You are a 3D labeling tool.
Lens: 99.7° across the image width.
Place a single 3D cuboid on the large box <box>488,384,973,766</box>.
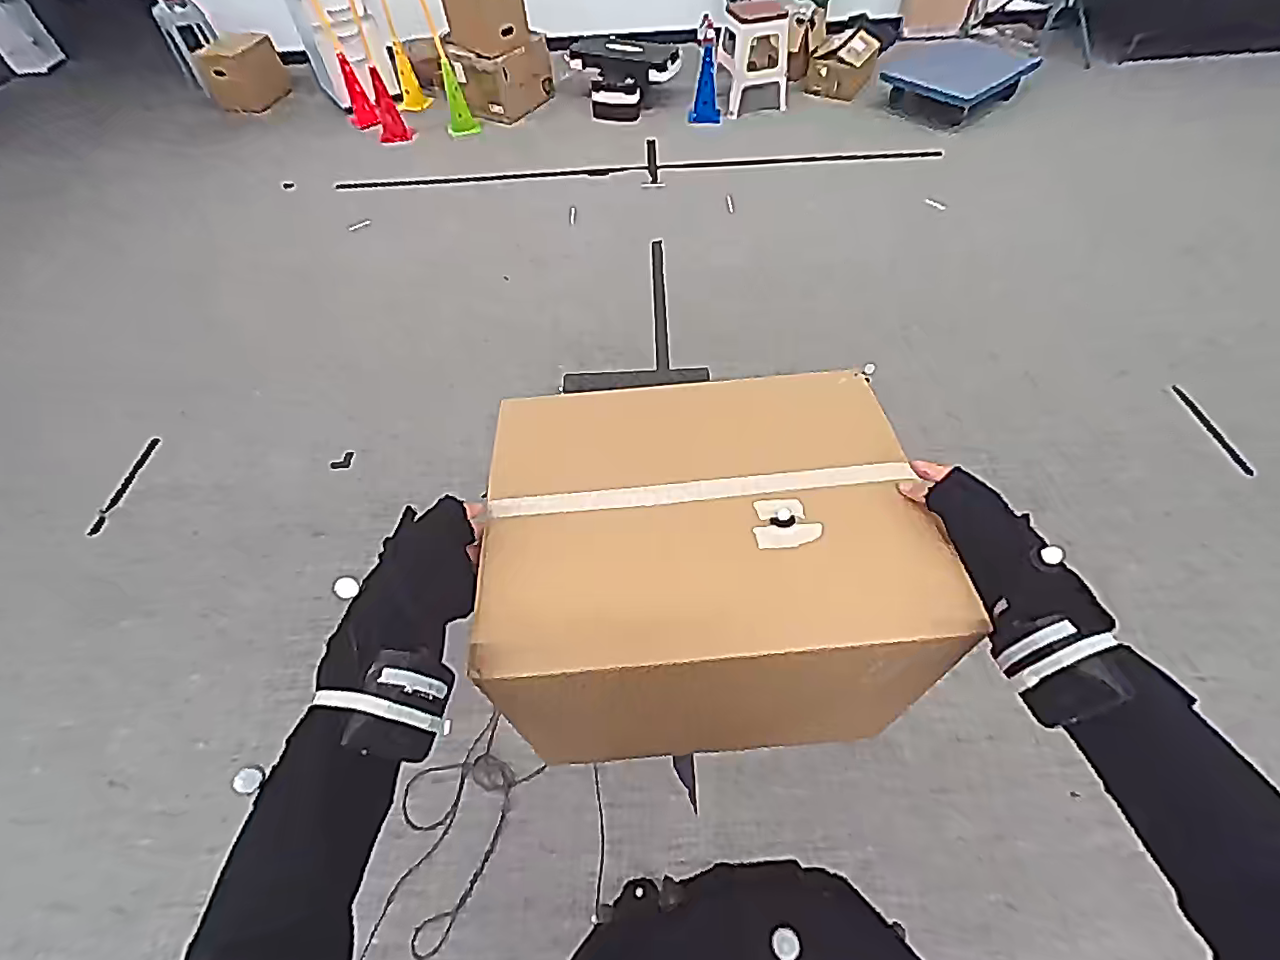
[{"bbox_3d":[0.068,0.118,0.640,0.408,0.320,0.320,-5,51,-1],"label":"large box"}]
